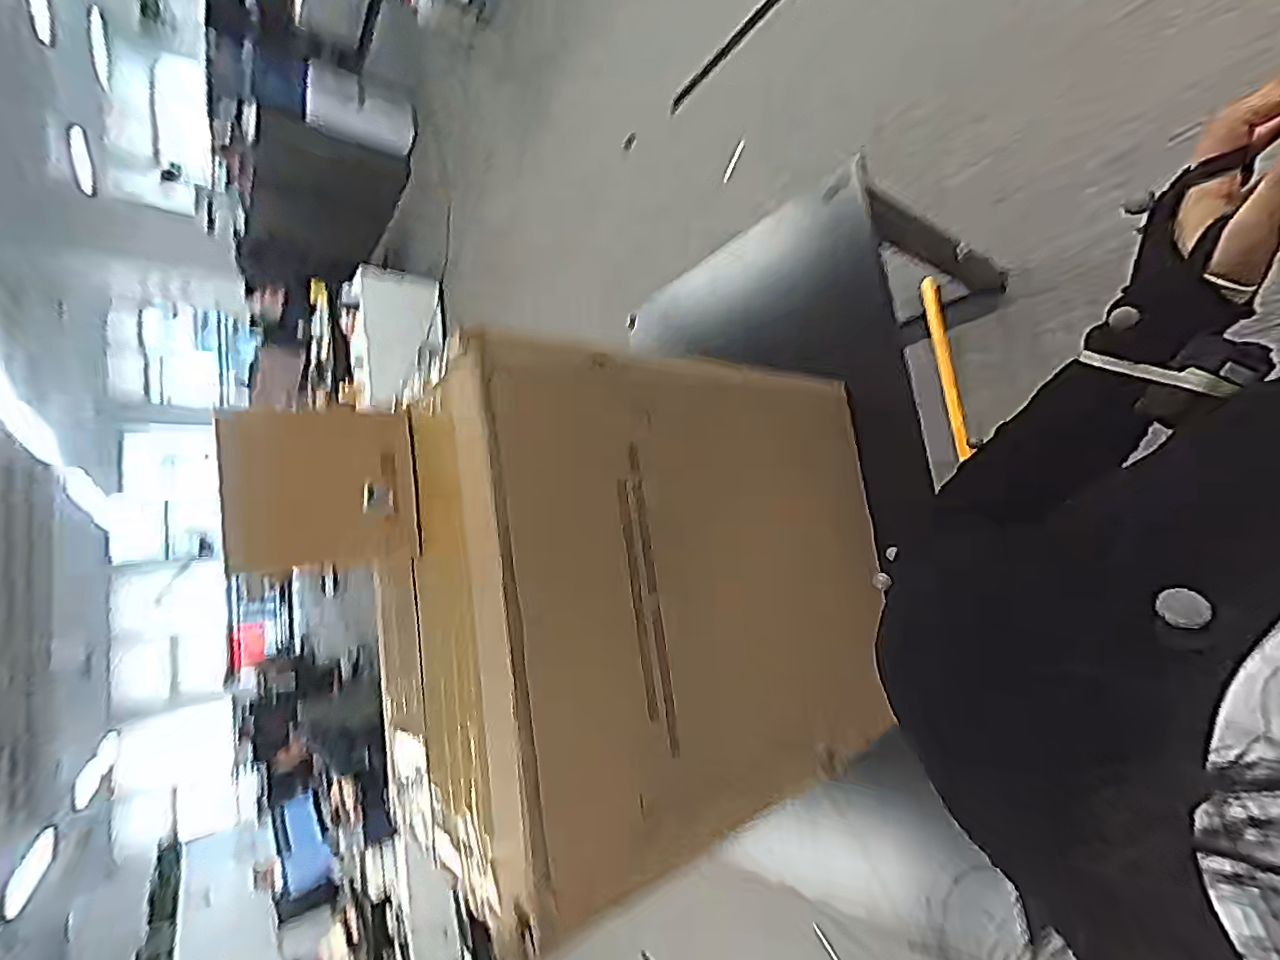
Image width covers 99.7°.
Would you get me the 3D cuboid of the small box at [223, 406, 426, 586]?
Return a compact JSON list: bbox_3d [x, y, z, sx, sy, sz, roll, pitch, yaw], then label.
[{"bbox_3d":[-0.349,0.021,0.599,0.179,0.176,0.168,-15,82,52],"label":"small box"}]
